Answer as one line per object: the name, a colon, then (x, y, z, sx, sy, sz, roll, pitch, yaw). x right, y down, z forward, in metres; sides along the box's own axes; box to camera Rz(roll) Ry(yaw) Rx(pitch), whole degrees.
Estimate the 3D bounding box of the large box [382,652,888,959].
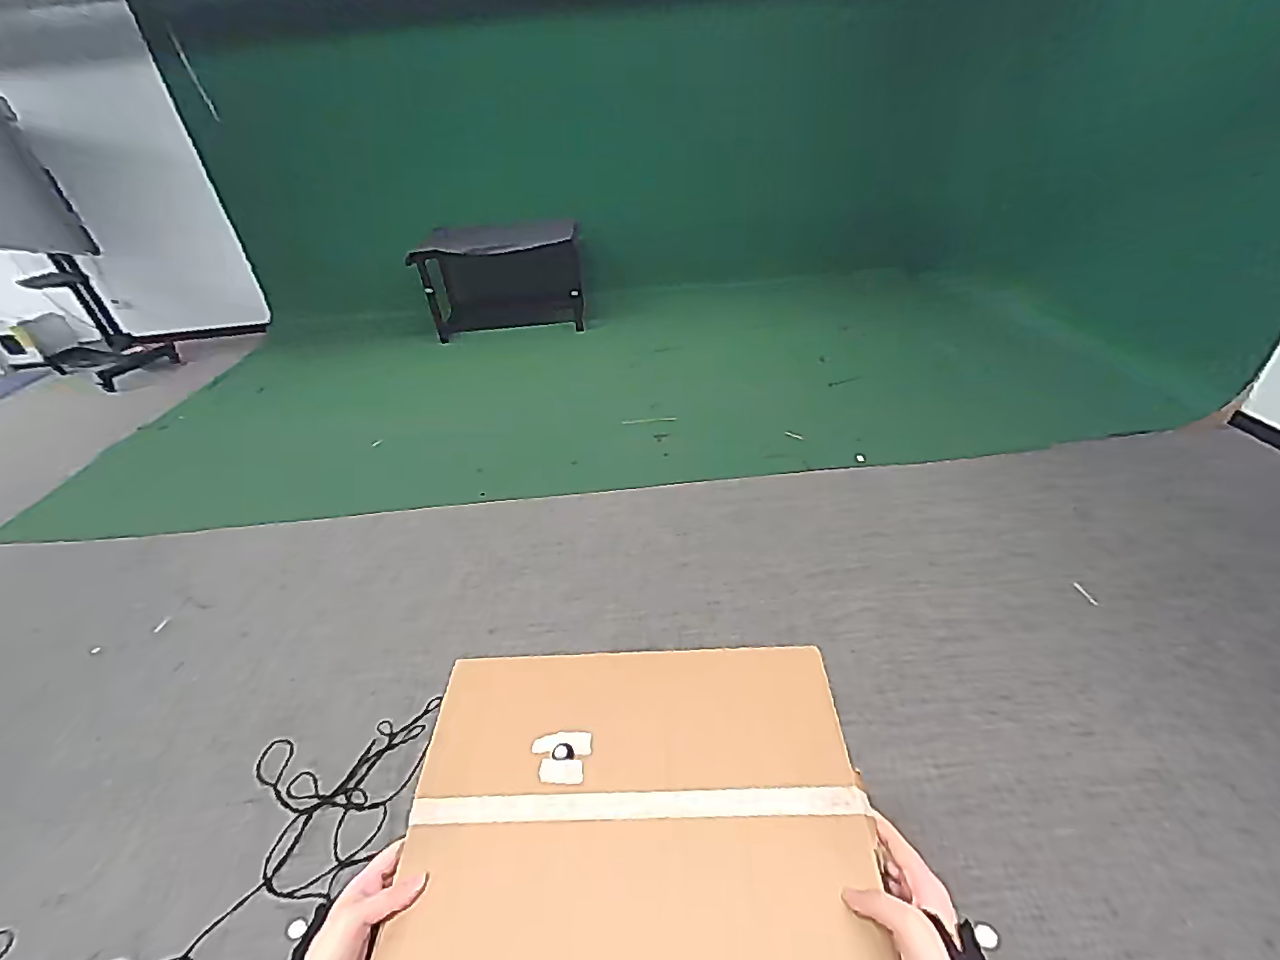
large box: (0.006, 0.417, 0.591, 0.408, 0.320, 0.320, -5, 41, 5)
